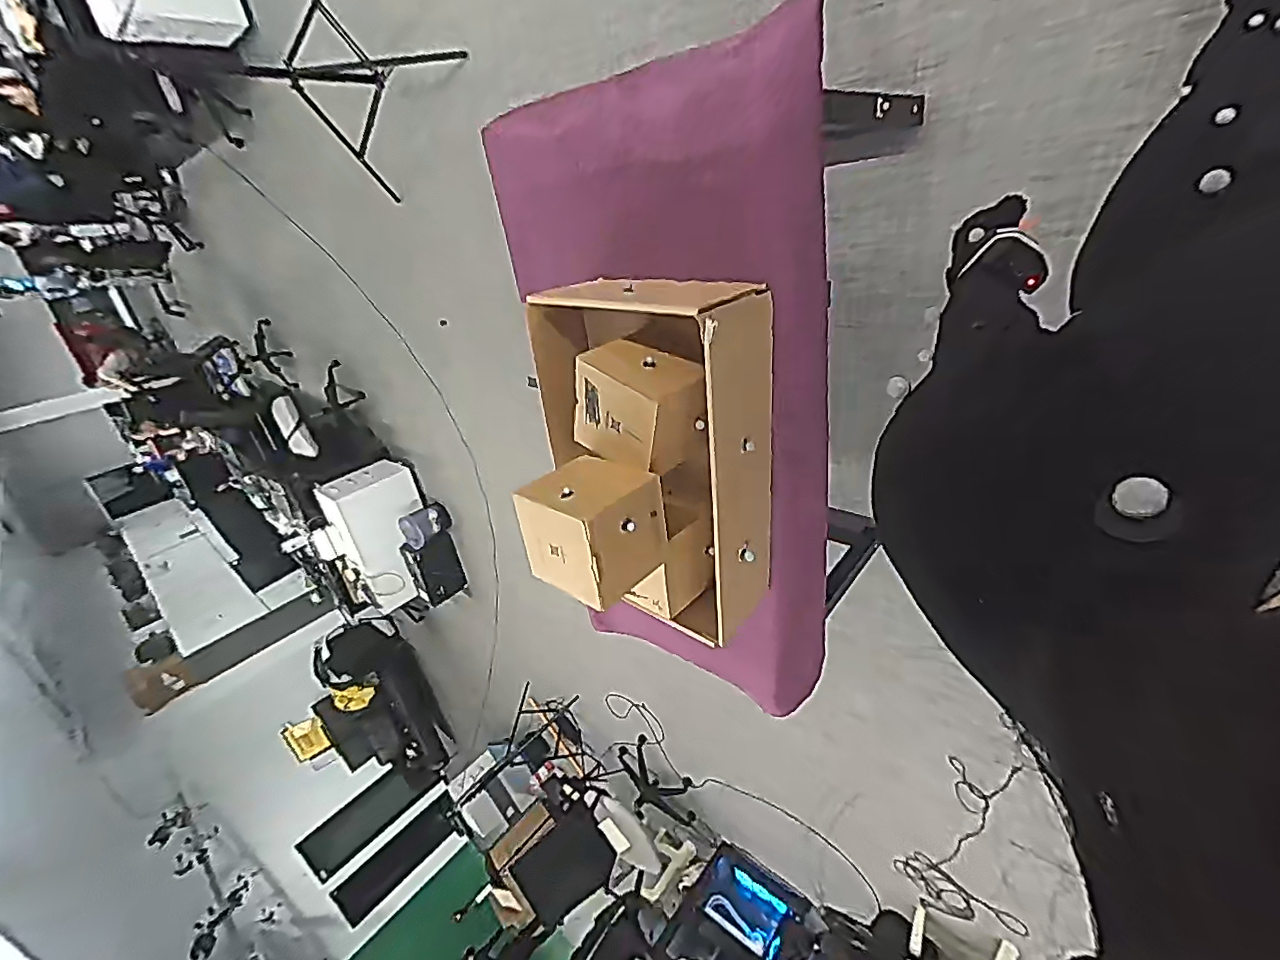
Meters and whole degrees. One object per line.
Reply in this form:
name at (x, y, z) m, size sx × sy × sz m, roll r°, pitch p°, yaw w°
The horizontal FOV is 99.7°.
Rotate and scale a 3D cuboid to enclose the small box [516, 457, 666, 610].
small box at (-0.071, 0.077, 0.890) m, size 0.179 × 0.176 × 0.168 m, roll 17°, pitch 126°, yaw 41°
